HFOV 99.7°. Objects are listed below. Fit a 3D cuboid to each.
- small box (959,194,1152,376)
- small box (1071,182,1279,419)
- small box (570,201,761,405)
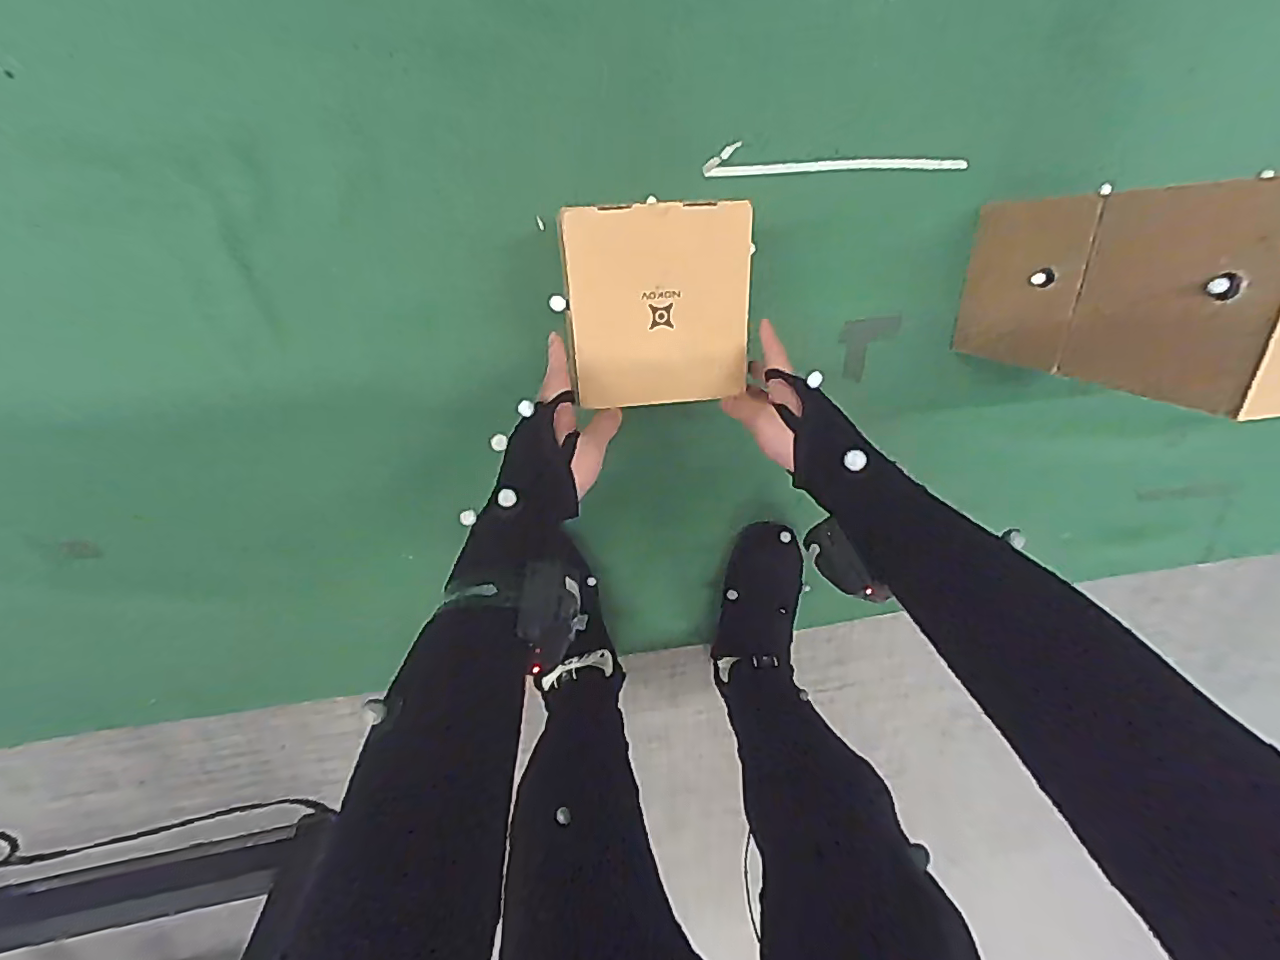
[{"bbox_3d":[0.512,-0.227,0.631,0.168,0.176,0.179,-4,113,-8],"label":"small box"},{"bbox_3d":[0.541,-0.164,0.483,0.168,0.176,0.179,-5,114,-8],"label":"small box"},{"bbox_3d":[0.016,-0.188,0.566,0.168,0.176,0.179,-5,112,-7],"label":"small box"}]
